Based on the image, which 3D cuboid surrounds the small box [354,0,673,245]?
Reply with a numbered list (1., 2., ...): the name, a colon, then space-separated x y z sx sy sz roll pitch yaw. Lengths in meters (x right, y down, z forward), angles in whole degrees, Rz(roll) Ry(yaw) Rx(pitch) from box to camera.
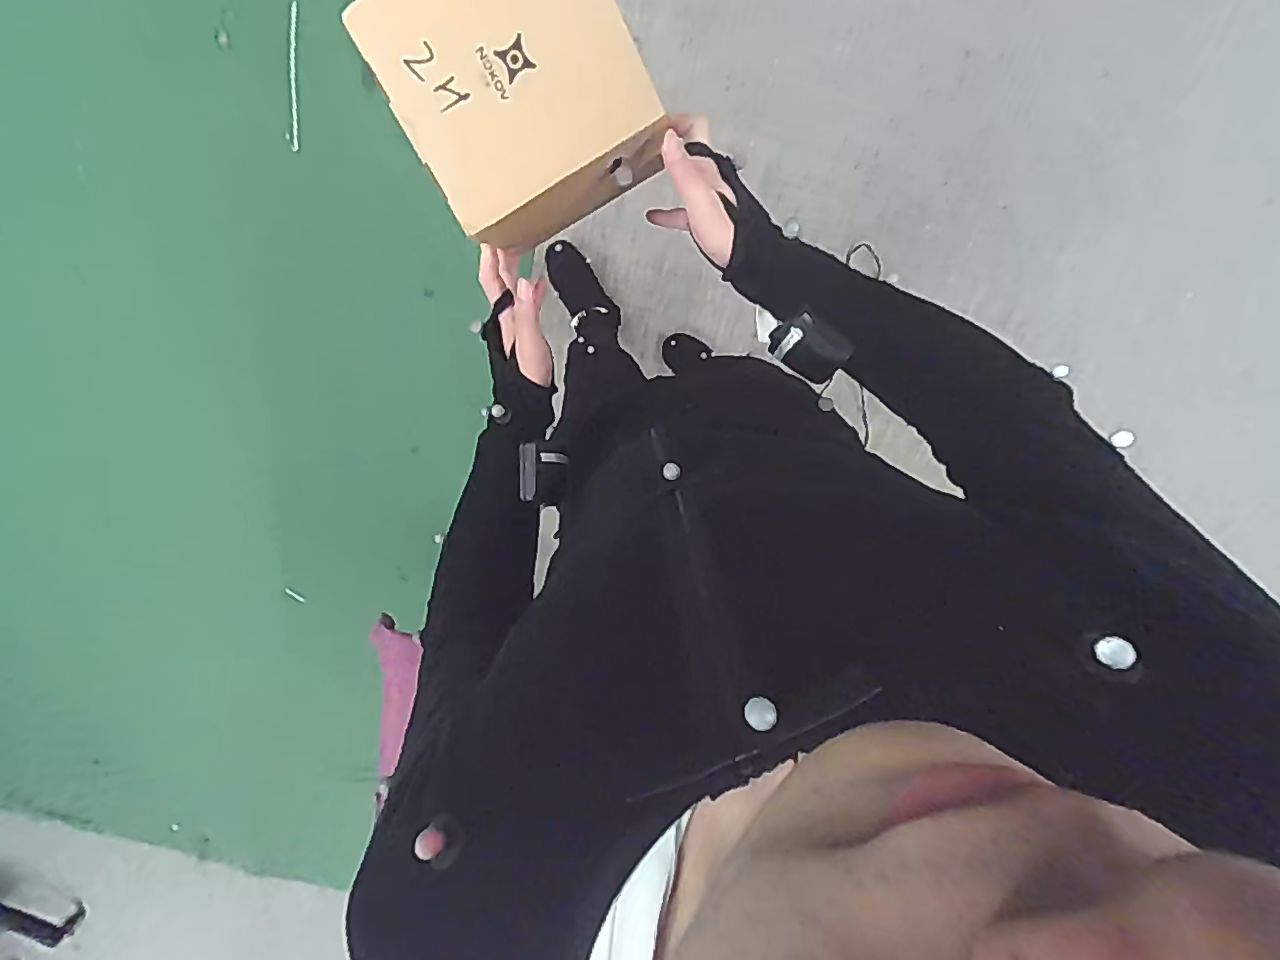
1. small box: -0.085 -0.321 0.457 0.179 0.176 0.168 -25 105 11
